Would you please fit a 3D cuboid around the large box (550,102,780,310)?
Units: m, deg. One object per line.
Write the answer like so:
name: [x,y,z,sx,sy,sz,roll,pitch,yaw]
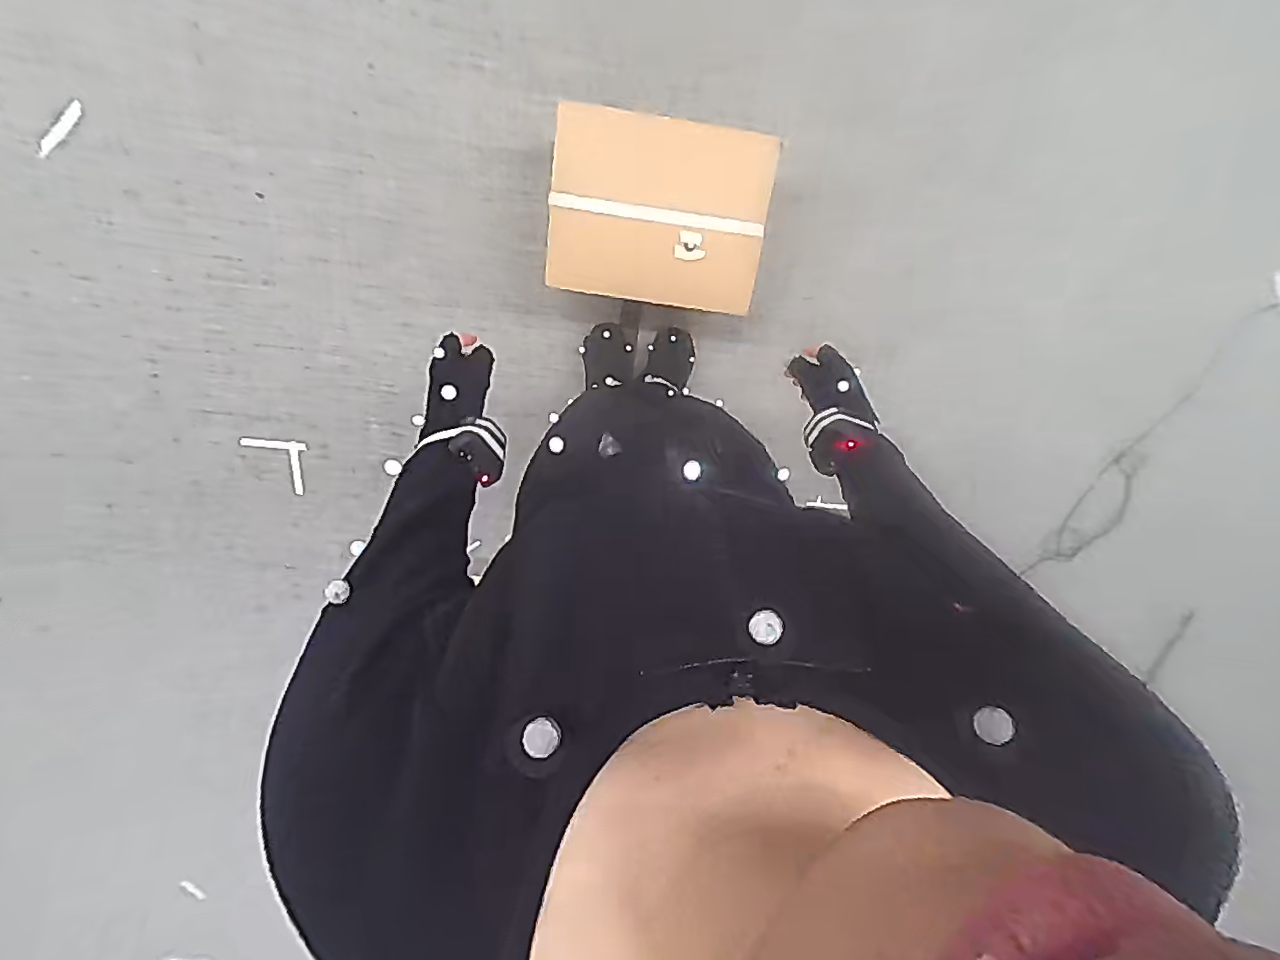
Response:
large box: [0.032,-0.552,1.146,0.408,0.320,0.320,7,112,-4]
